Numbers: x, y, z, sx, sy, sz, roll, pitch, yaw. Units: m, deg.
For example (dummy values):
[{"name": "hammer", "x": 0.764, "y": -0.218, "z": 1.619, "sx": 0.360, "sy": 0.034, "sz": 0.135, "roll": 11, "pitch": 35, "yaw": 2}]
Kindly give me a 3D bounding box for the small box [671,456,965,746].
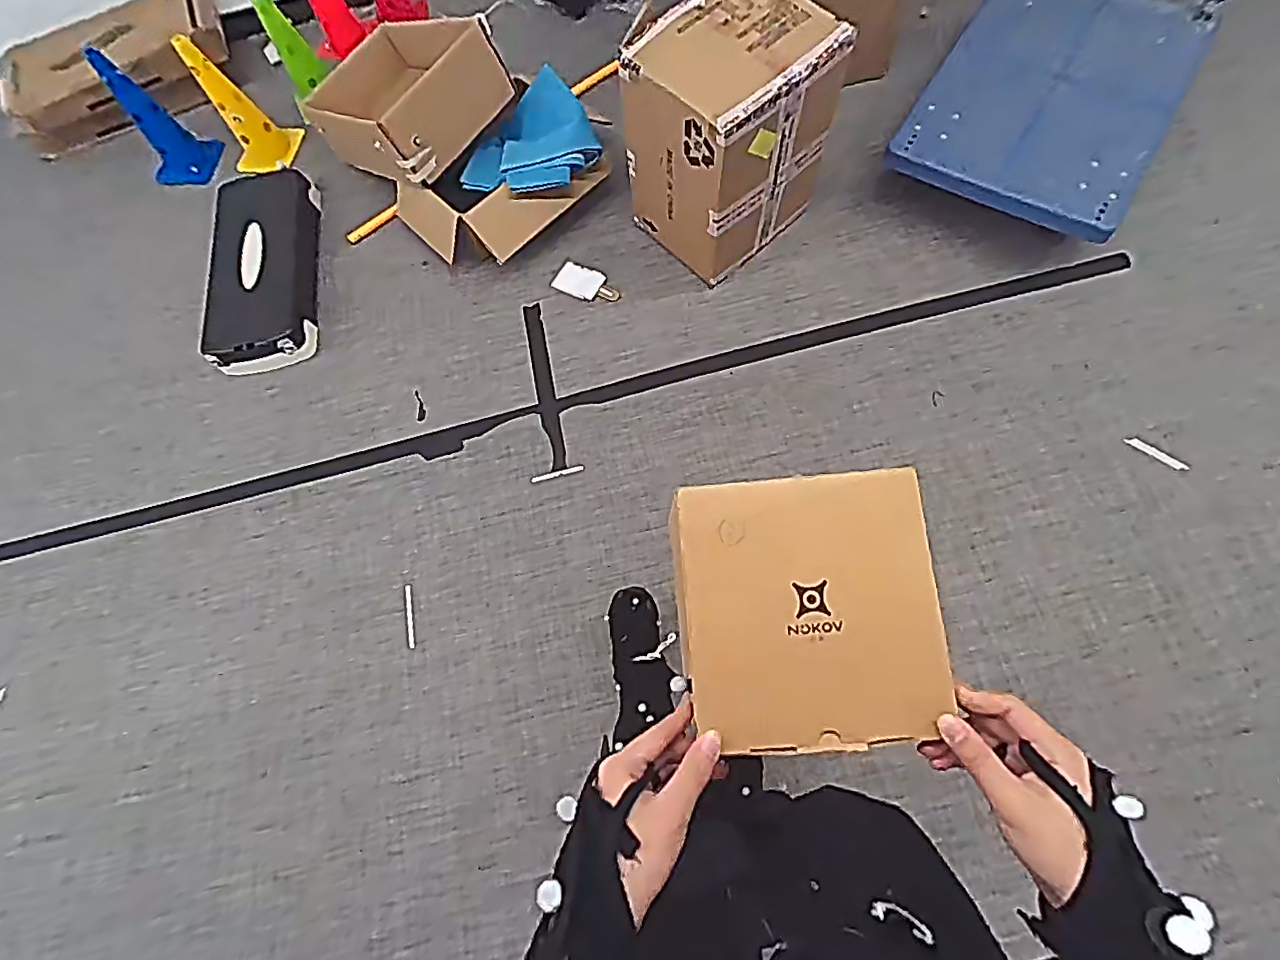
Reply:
[{"name": "small box", "x": 0.115, "y": 0.089, "z": 0.428, "sx": 0.168, "sy": 0.176, "sz": 0.179, "roll": -5, "pitch": 80, "yaw": 1}]
